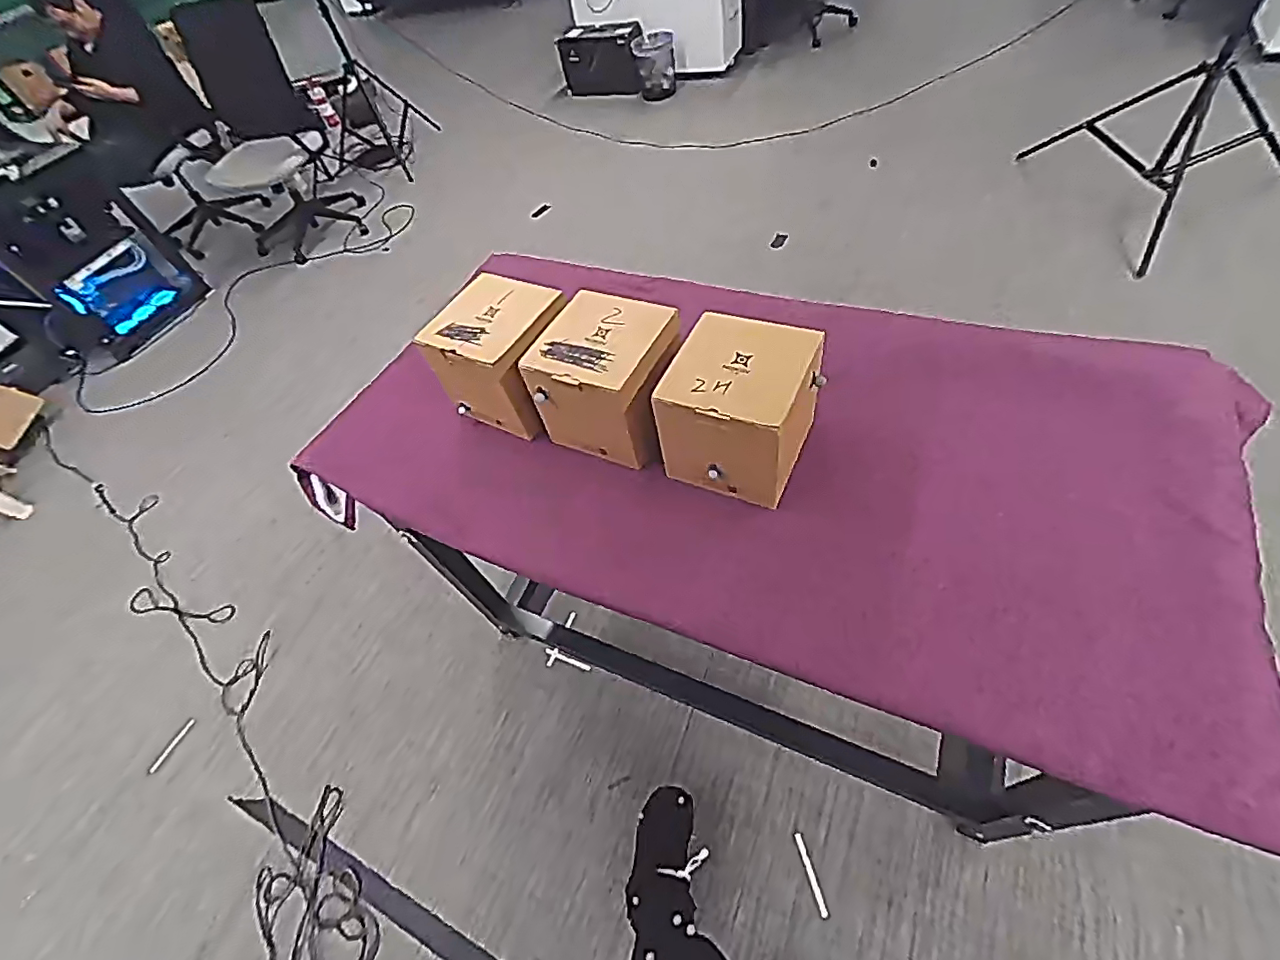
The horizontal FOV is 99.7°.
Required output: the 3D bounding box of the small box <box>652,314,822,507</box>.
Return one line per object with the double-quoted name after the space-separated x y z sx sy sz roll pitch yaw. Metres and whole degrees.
0.134 -0.094 0.738 0.168 0.176 0.179 17 59 24 "small box"
